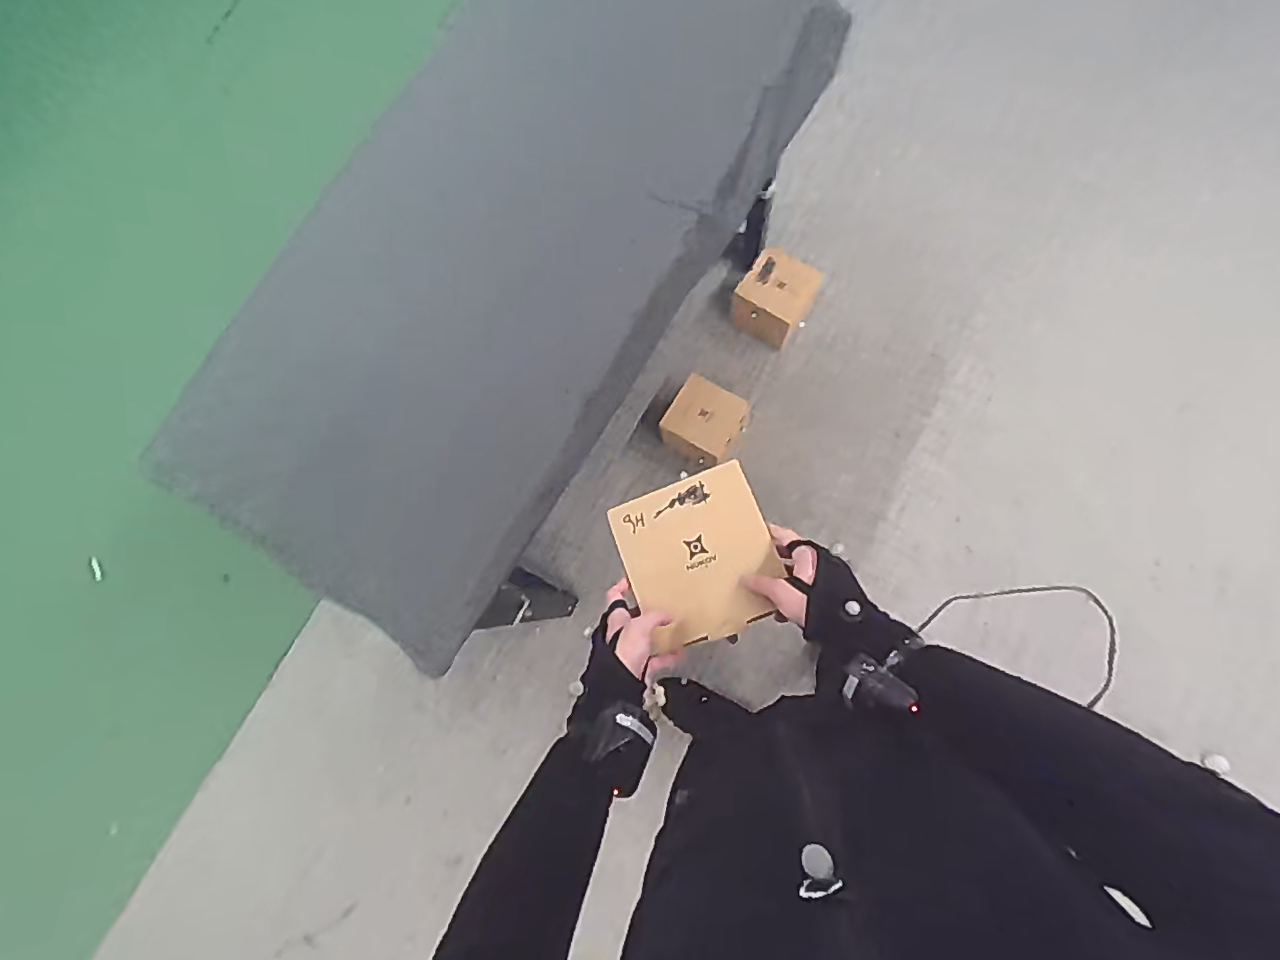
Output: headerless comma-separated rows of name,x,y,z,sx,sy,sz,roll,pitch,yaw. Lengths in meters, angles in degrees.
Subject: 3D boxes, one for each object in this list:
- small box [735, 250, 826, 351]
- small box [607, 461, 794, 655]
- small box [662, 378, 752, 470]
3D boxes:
small box,0.375,-0.484,1.483,0.179,0.176,0.168,33,84,13
small box,0.080,0.101,0.675,0.168,0.176,0.179,-22,73,6
small box,0.179,-0.136,1.434,0.179,0.176,0.168,30,81,15
